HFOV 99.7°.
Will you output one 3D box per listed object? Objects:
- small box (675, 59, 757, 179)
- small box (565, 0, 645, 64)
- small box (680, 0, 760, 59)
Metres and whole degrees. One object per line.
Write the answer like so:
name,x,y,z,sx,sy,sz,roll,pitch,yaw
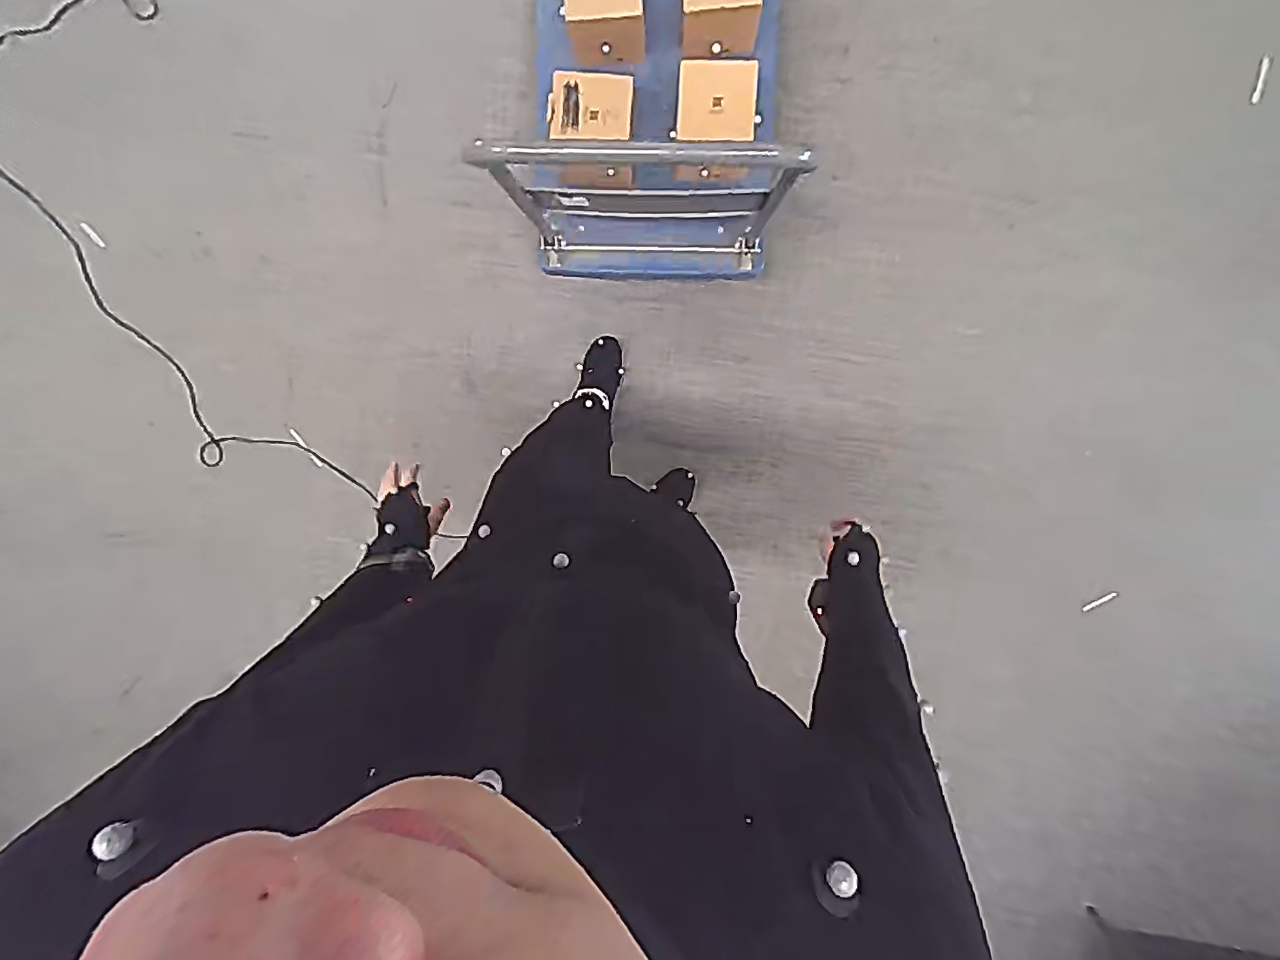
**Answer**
small box,0.168,-0.823,1.246,0.168,0.176,0.179,3,98,3
small box,-0.077,-1.082,1.225,0.168,0.176,0.179,-2,98,3
small box,0.174,-1.091,1.208,0.168,0.176,0.179,-1,99,5
